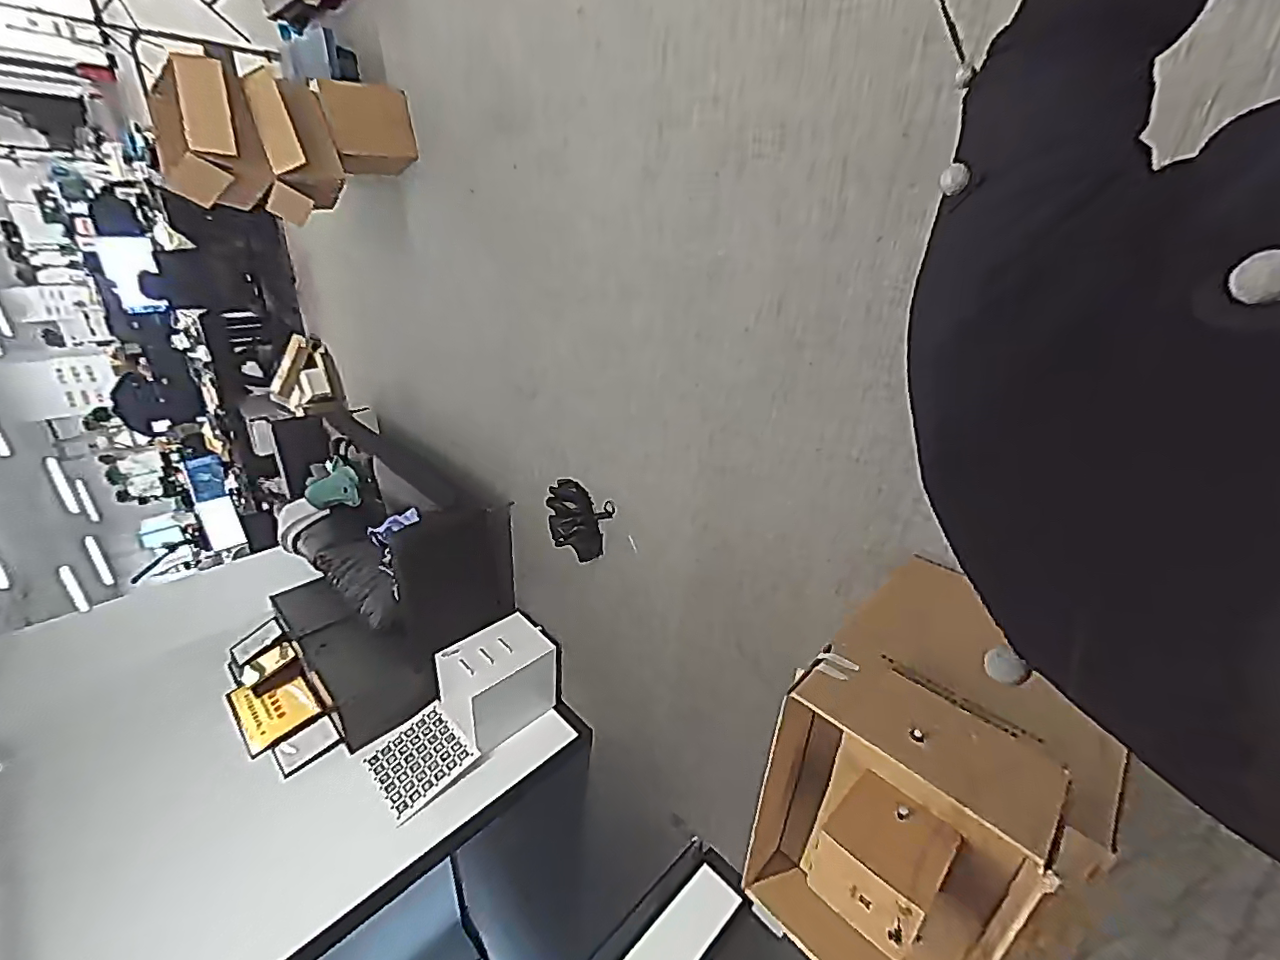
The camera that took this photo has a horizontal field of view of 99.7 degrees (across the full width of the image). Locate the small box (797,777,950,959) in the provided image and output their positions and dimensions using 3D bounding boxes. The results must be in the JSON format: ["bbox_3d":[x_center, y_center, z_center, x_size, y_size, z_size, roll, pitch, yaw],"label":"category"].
[{"bbox_3d":[0.408,0.665,0.952,0.179,0.176,0.168,26,126,40],"label":"small box"}]
